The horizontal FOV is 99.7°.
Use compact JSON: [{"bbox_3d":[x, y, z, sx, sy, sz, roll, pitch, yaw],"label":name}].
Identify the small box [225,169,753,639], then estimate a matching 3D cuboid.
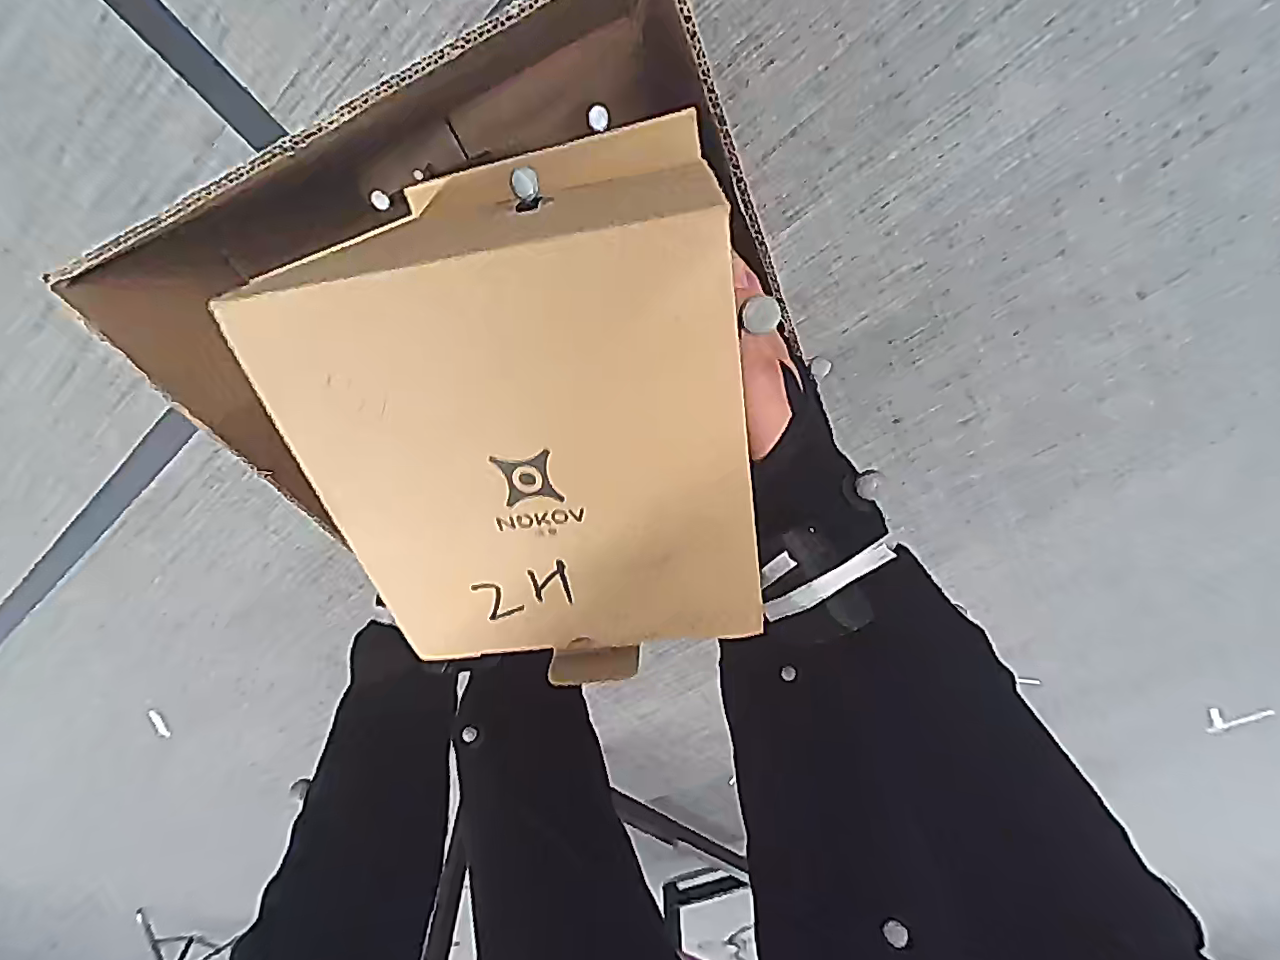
[{"bbox_3d":[-0.038,-0.046,0.275,0.168,0.176,0.179,-6,123,9],"label":"small box"}]
